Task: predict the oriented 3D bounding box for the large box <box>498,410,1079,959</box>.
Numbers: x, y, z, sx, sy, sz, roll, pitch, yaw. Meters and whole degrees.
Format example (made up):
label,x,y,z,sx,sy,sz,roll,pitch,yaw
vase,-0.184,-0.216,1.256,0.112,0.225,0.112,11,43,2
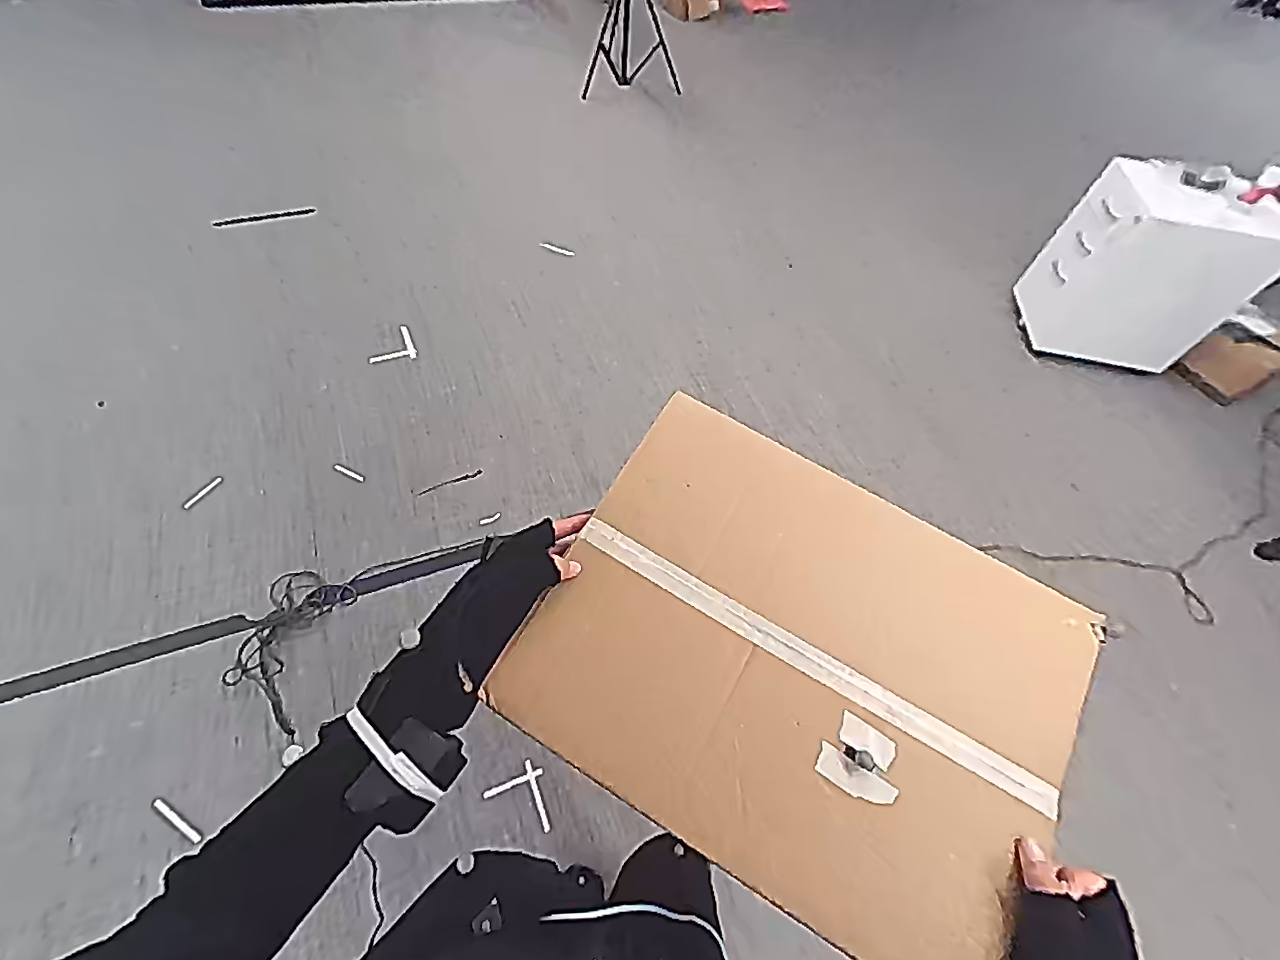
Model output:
label,x,y,z,sx,sy,sz,roll,pitch,yaw
large box,0.124,0.197,0.582,0.408,0.320,0.320,30,72,9
